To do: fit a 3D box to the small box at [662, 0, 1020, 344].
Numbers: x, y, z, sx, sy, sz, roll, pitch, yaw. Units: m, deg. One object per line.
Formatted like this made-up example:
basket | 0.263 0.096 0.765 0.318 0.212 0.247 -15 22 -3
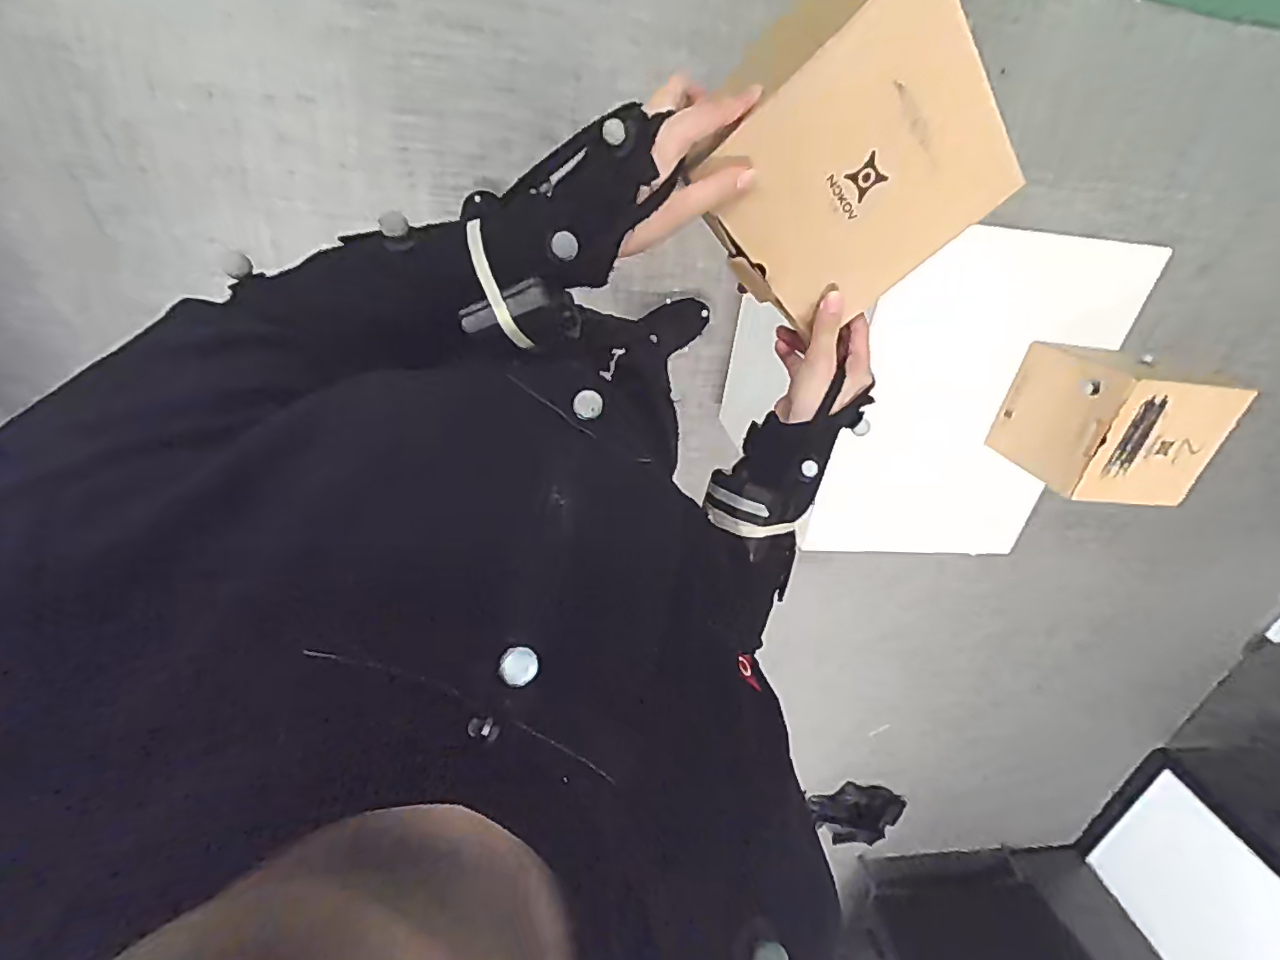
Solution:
small box | 0.133 -0.247 0.418 0.179 0.176 0.168 -40 124 19
